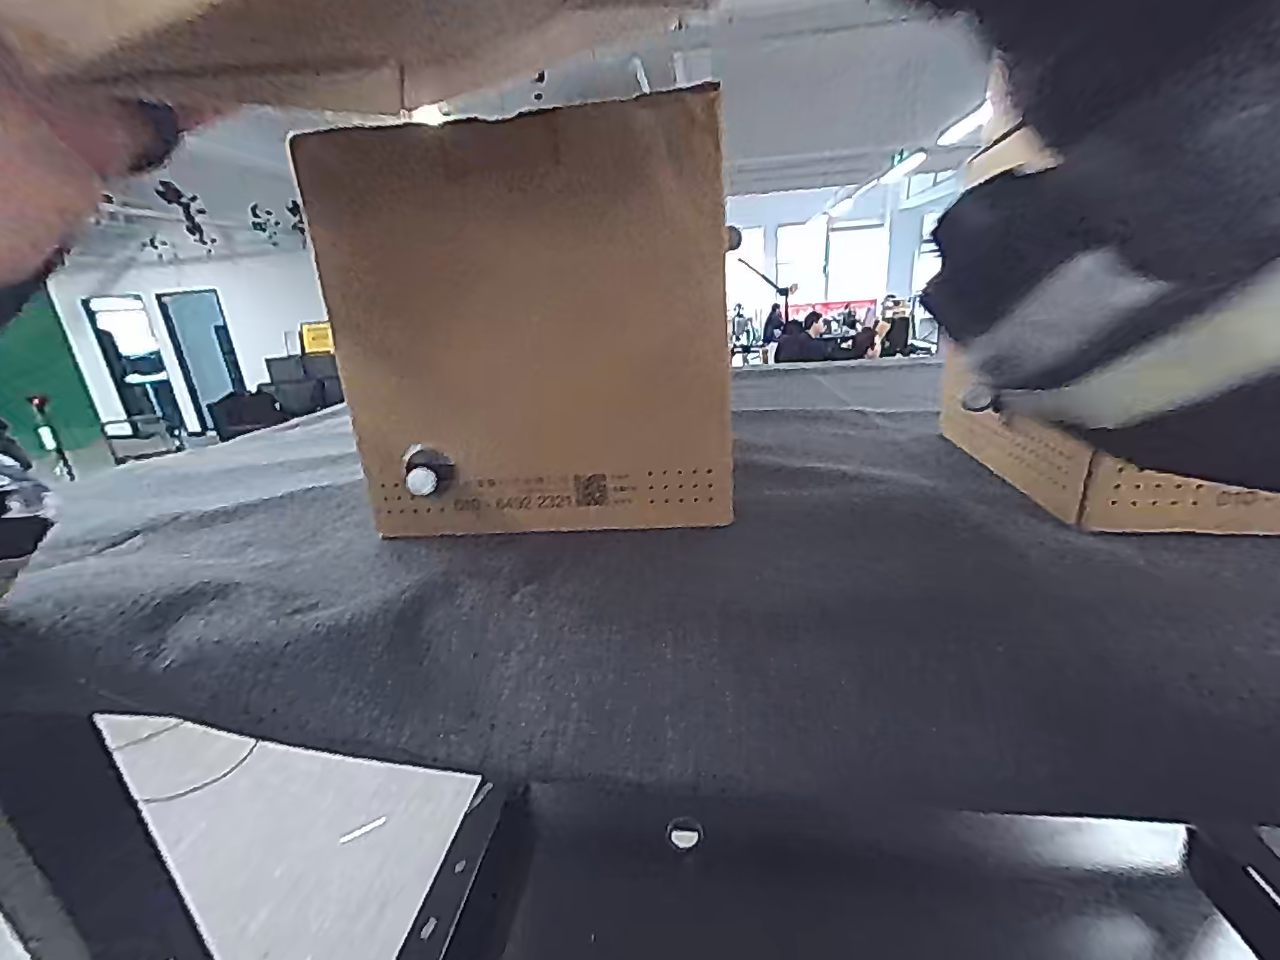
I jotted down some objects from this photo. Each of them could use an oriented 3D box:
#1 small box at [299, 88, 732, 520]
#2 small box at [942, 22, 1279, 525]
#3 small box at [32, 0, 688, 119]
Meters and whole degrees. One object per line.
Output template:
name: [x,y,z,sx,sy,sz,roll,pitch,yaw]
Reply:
small box: [-0.039,-0.081,0.302,0.168,0.176,0.179,-2,17,5]
small box: [0.260,-0.083,0.250,0.168,0.176,0.179,0,19,11]
small box: [-0.073,-0.212,0.134,0.168,0.176,0.179,-9,29,14]
